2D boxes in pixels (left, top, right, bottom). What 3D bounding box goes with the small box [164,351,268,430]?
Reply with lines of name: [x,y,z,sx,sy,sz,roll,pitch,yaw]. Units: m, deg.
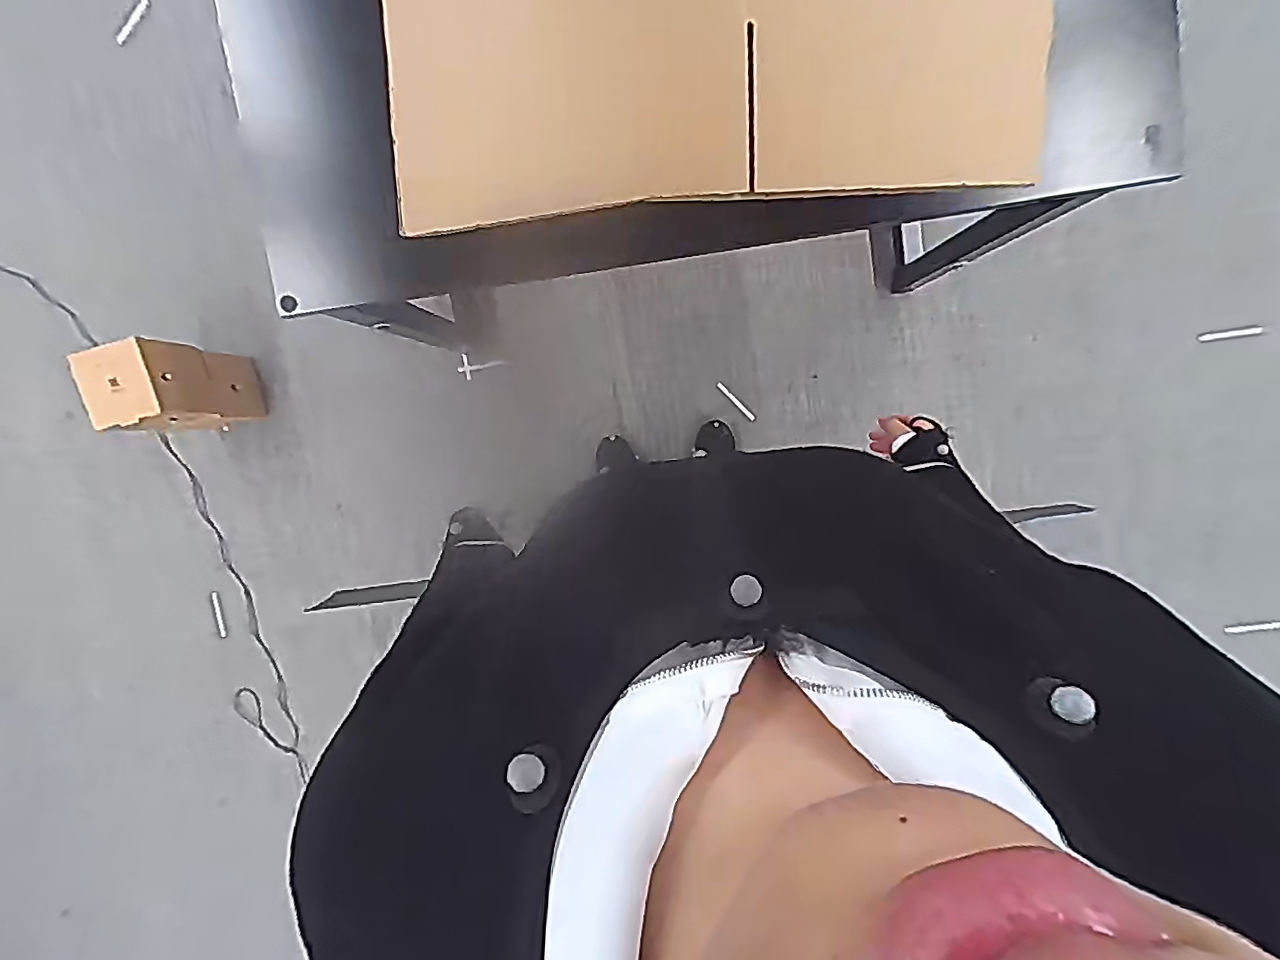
small box: [-1.141,-0.232,1.437,0.168,0.176,0.179,-11,96,4]

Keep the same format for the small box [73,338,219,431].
small box: [-1.150,-0.220,1.275,0.168,0.176,0.179,-15,94,3]
